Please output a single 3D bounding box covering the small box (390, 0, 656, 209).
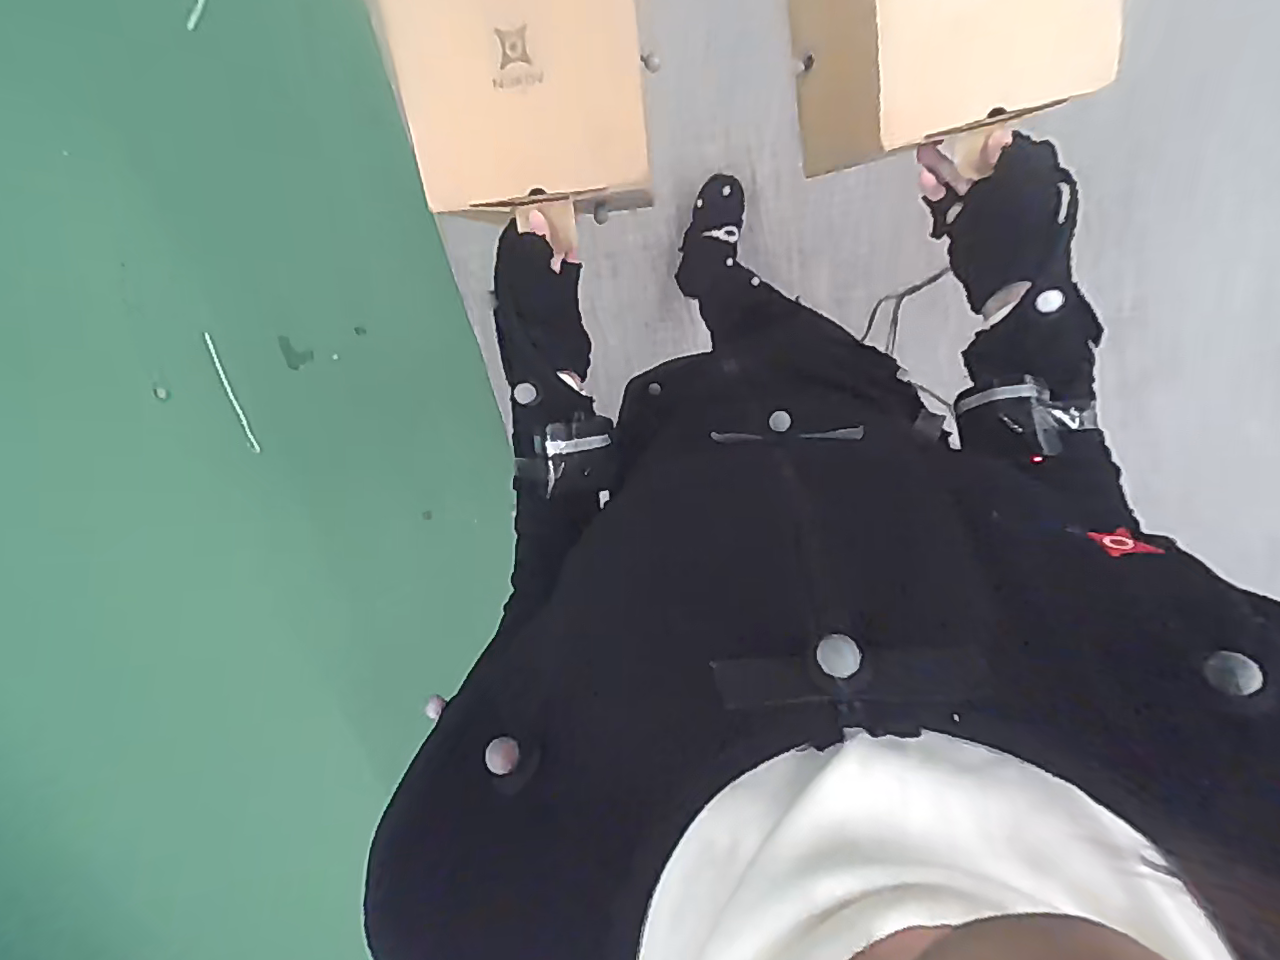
[{"bbox_3d":[-0.077,-0.325,0.436,0.168,0.176,0.179,-5,111,5],"label":"small box"}]
